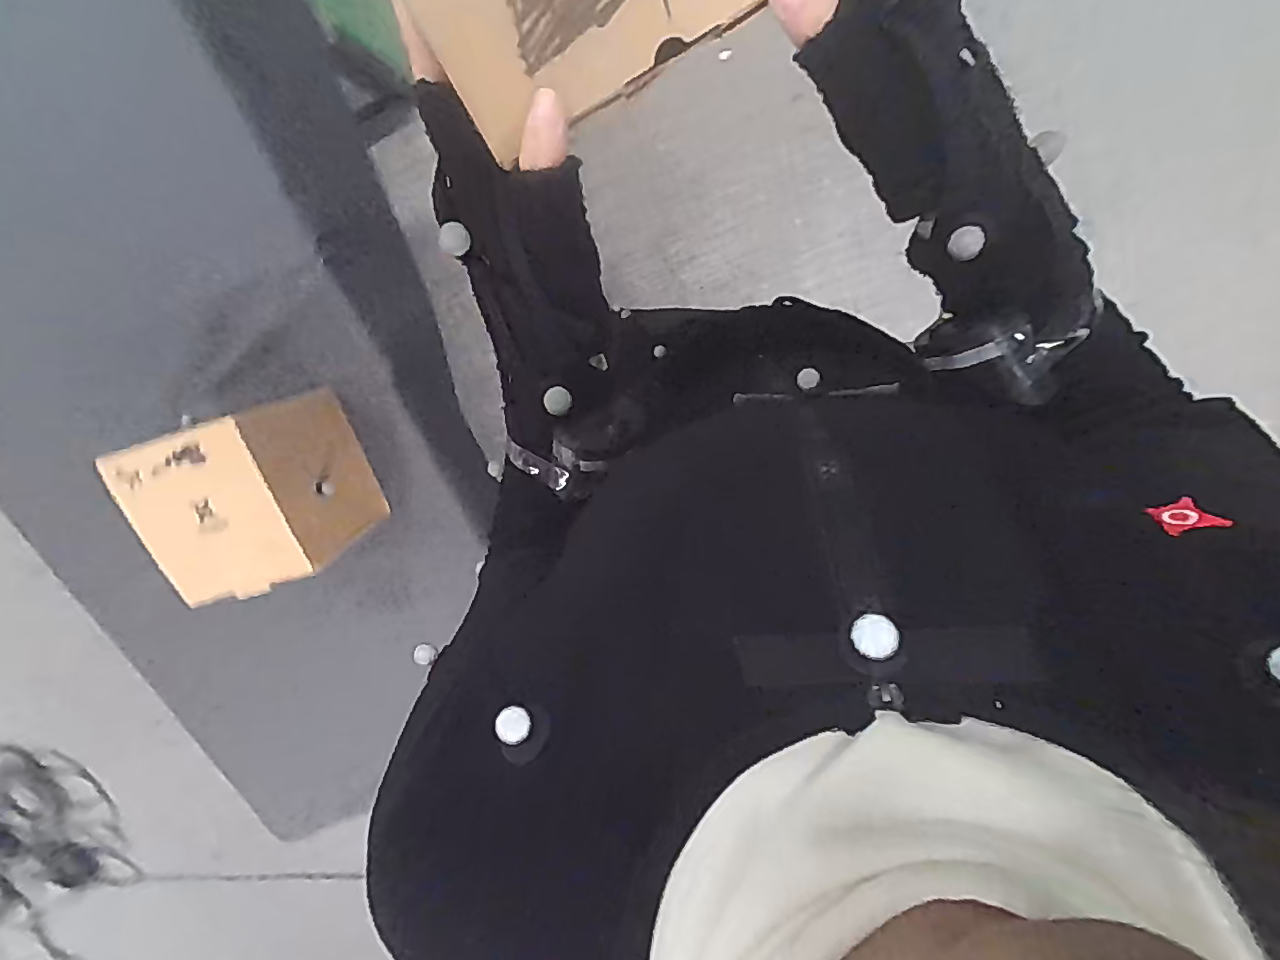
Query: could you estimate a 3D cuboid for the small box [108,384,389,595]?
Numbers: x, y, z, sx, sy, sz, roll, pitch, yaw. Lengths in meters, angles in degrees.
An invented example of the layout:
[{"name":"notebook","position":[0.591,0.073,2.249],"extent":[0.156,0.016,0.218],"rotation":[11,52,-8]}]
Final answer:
[{"name":"small box","position":[-0.438,0.004,0.641],"extent":[0.168,0.176,0.179],"rotation":[-18,107,11]}]
